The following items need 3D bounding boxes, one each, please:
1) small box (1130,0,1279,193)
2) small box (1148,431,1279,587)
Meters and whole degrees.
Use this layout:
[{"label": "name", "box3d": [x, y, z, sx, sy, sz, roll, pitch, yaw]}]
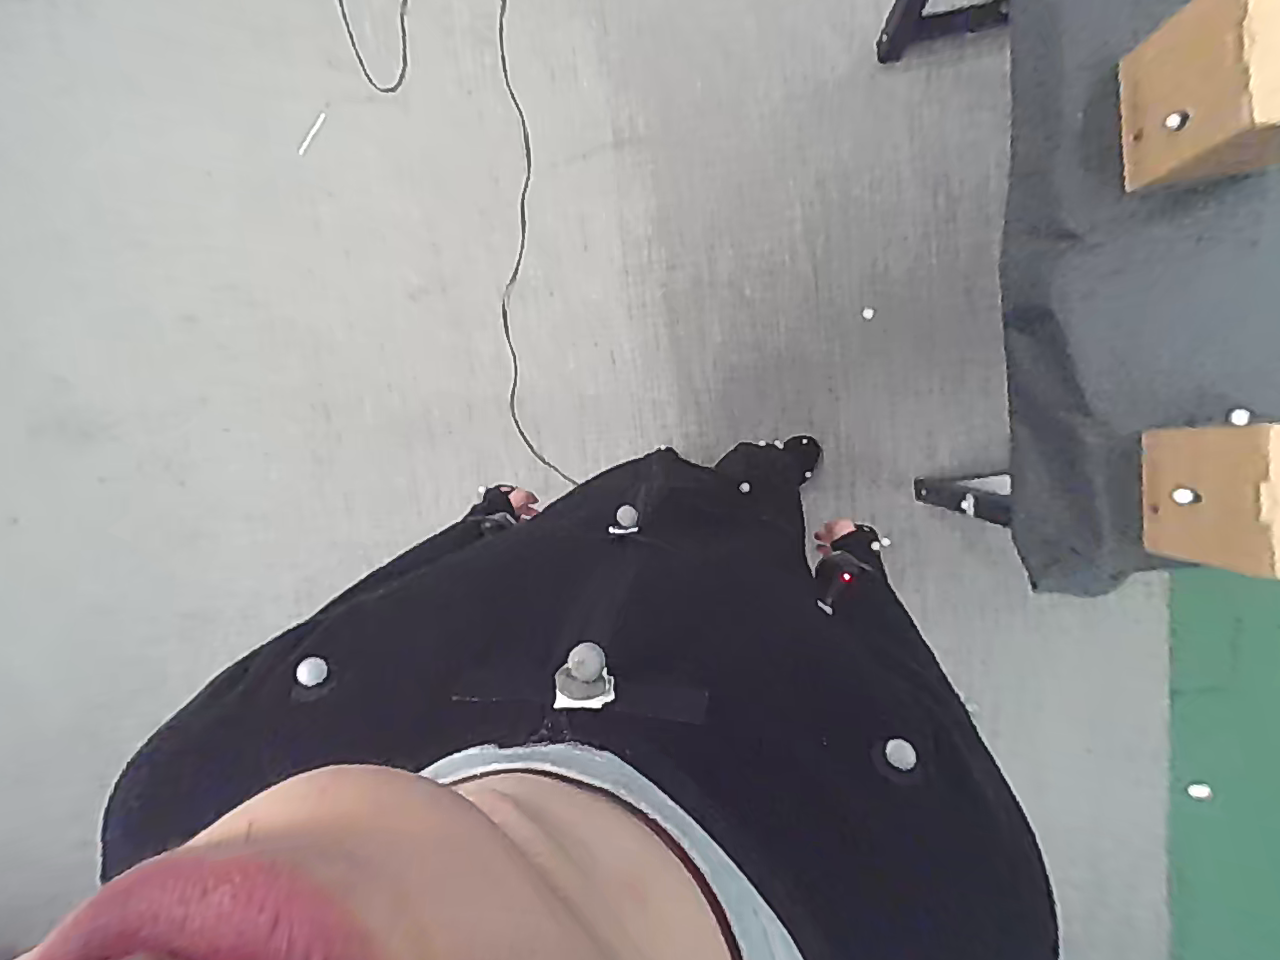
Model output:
[{"label": "small box", "box3d": [0.696, -0.444, 0.601, 0.179, 0.176, 0.168, -6, 96, 6]}, {"label": "small box", "box3d": [0.746, 0.026, 0.630, 0.179, 0.176, 0.168, -3, 92, 7]}]
